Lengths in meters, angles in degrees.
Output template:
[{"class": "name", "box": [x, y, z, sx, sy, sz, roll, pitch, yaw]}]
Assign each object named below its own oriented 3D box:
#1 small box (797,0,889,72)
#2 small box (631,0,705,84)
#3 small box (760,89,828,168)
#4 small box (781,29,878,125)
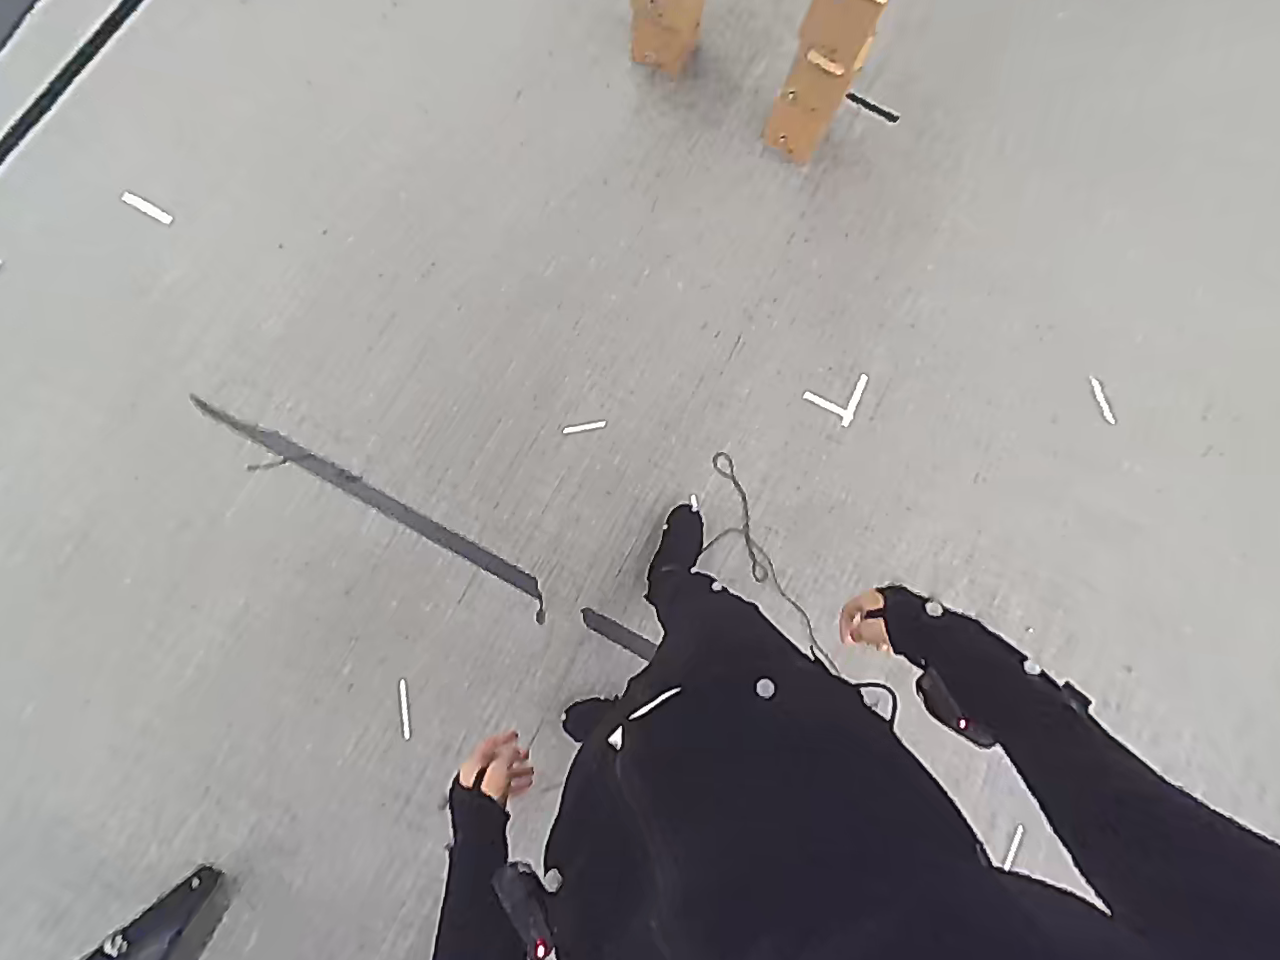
[{"class": "small box", "box": [0.511, -1.167, 1.325, 0.168, 0.176, 0.179, 29, 79, 1]}, {"class": "small box", "box": [0.078, -1.382, 1.661, 0.168, 0.176, 0.179, 26, 79, 1]}, {"class": "small box", "box": [0.490, -1.109, 1.648, 0.168, 0.176, 0.179, 30, 80, 1]}, {"class": "small box", "box": [0.510, -1.133, 1.487, 0.168, 0.176, 0.179, 30, 79, 0]}]
